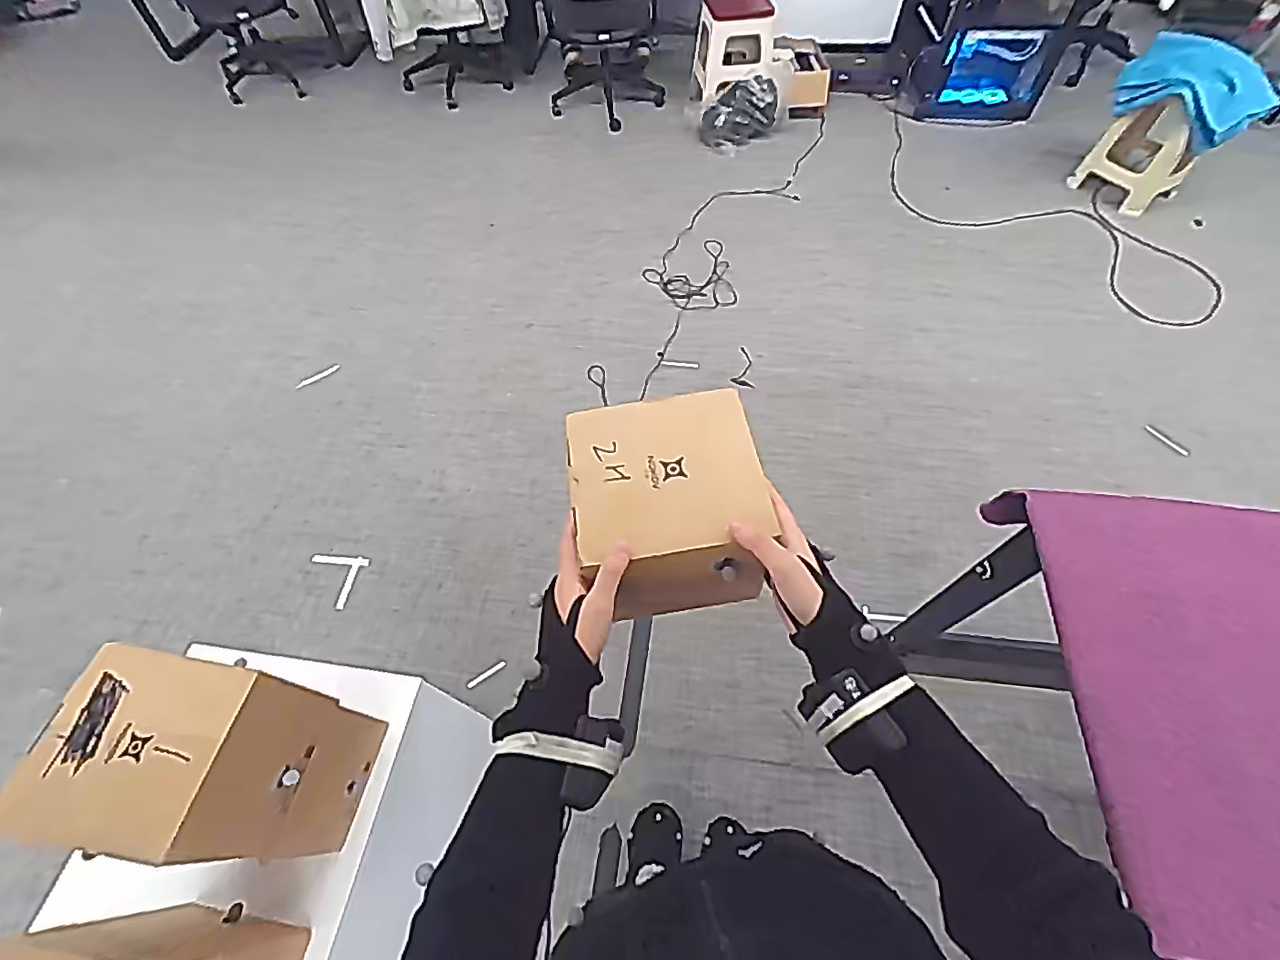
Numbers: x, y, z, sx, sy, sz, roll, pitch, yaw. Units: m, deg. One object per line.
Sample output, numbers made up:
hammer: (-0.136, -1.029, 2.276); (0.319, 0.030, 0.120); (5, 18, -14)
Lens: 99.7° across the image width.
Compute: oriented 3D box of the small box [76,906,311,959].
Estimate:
small box: (-0.509, 0.582, 0.581); (0.179, 0.176, 0.168); (6, 59, 7)

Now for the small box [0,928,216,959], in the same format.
small box: (-0.512, 0.496, 0.444); (0.179, 0.176, 0.168); (5, 58, 6)

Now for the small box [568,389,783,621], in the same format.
small box: (0.030, 0.033, 0.557); (0.179, 0.176, 0.168); (-9, 58, 0)

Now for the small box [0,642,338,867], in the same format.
small box: (-0.469, 0.287, 0.570); (0.179, 0.176, 0.168); (8, 59, 6)
